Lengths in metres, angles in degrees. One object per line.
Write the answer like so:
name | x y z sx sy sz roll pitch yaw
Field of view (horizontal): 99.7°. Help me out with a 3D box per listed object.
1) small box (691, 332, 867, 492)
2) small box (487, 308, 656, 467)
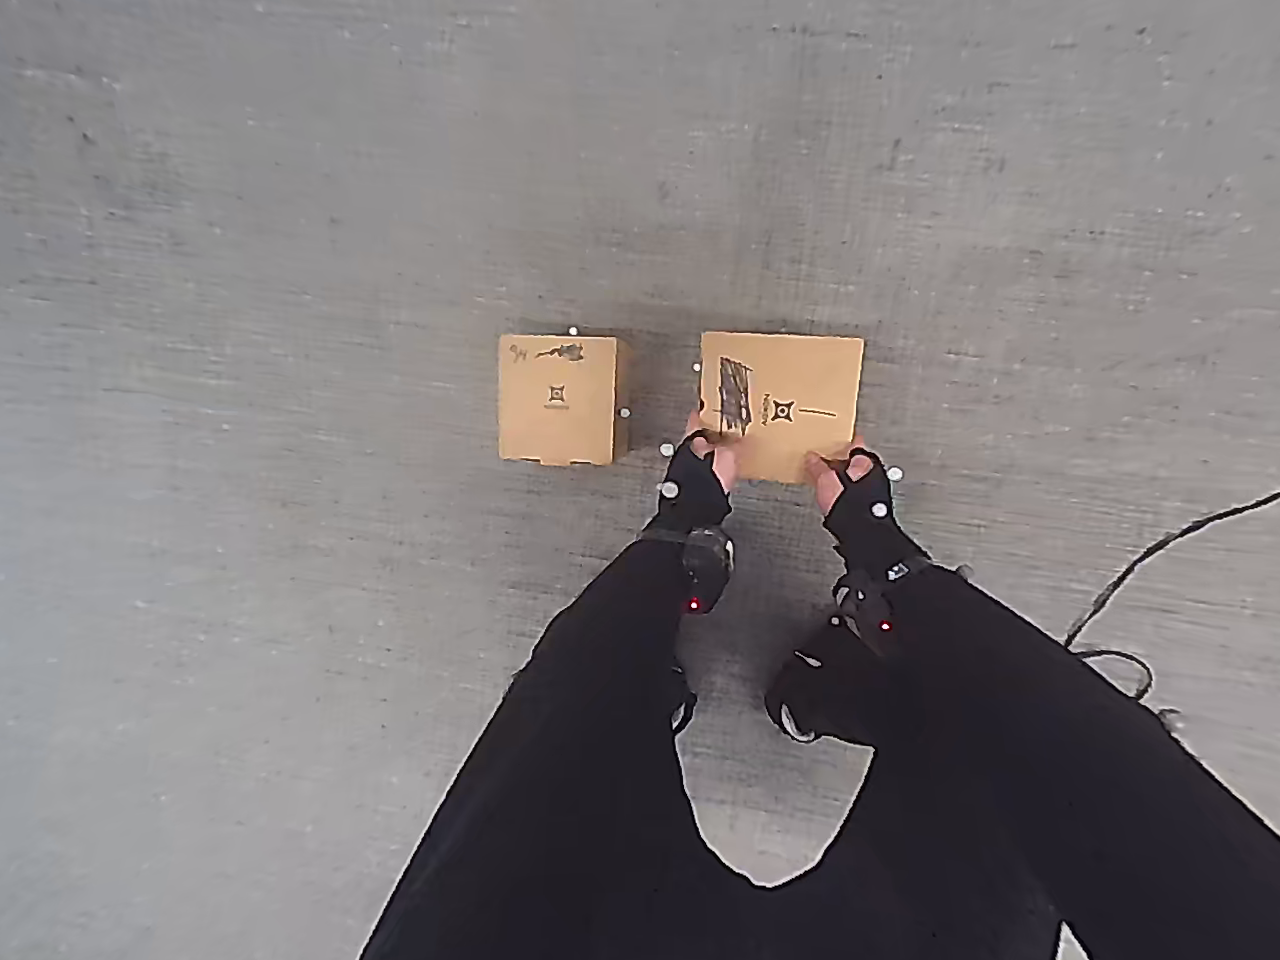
small box | 0.170 -0.089 0.693 0.179 0.176 0.168 8 101 10
small box | -0.094 -0.134 0.828 0.179 0.176 0.168 -27 92 13
